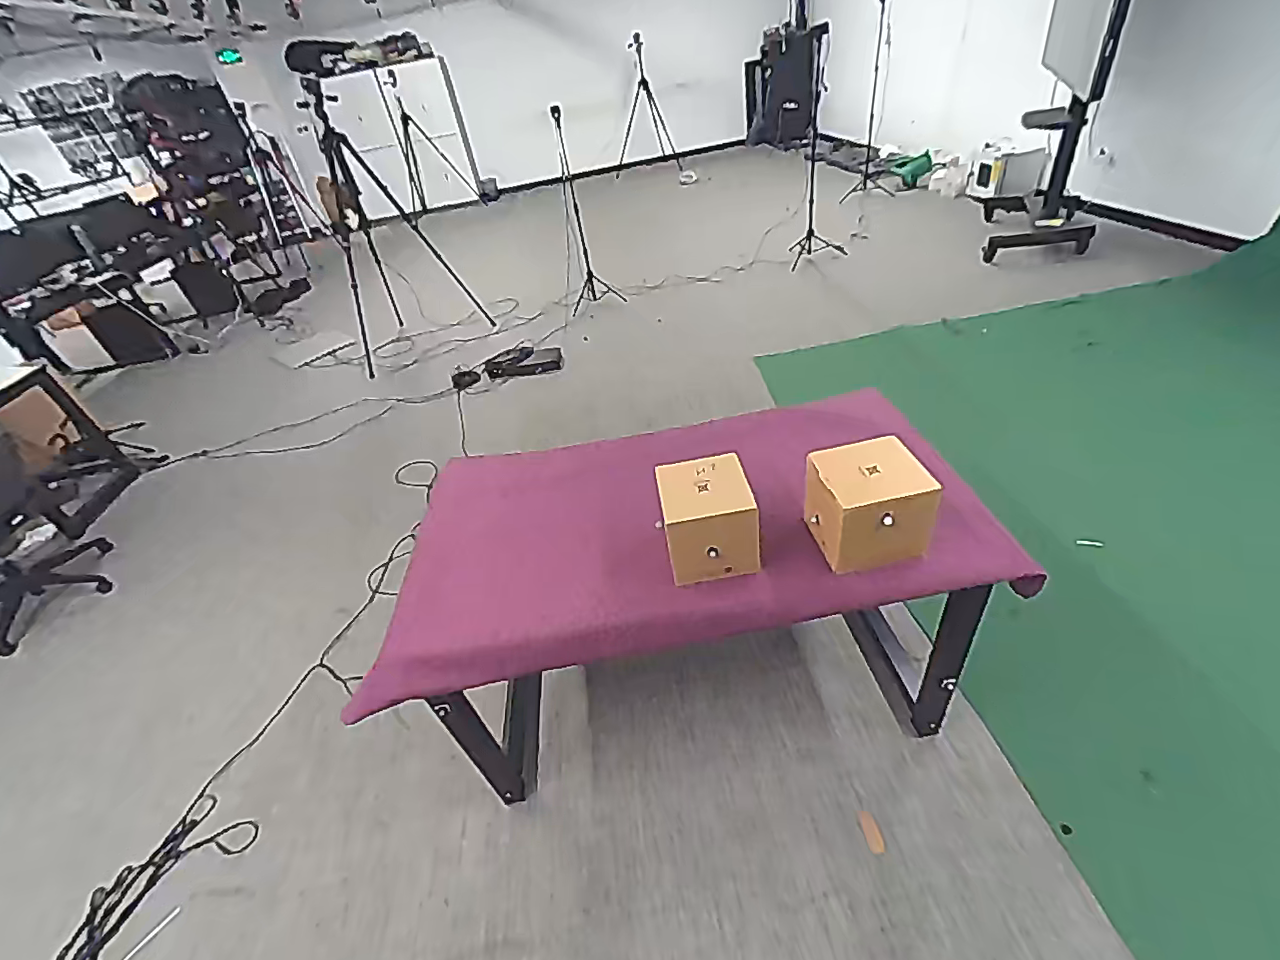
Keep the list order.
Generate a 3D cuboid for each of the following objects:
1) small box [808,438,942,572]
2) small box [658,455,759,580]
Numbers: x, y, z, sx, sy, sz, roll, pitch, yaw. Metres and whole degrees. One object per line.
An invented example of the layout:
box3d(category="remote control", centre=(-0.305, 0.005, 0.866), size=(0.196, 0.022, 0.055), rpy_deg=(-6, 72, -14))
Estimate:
box3d(category="small box", centre=(0.430, 0.049, 1.024), size=(0.179, 0.176, 0.168), rpy_deg=(-13, 39, 0))
box3d(category="small box", centre=(0.134, 0.079, 1.061), size=(0.168, 0.176, 0.179), rpy_deg=(-10, 37, 2))
